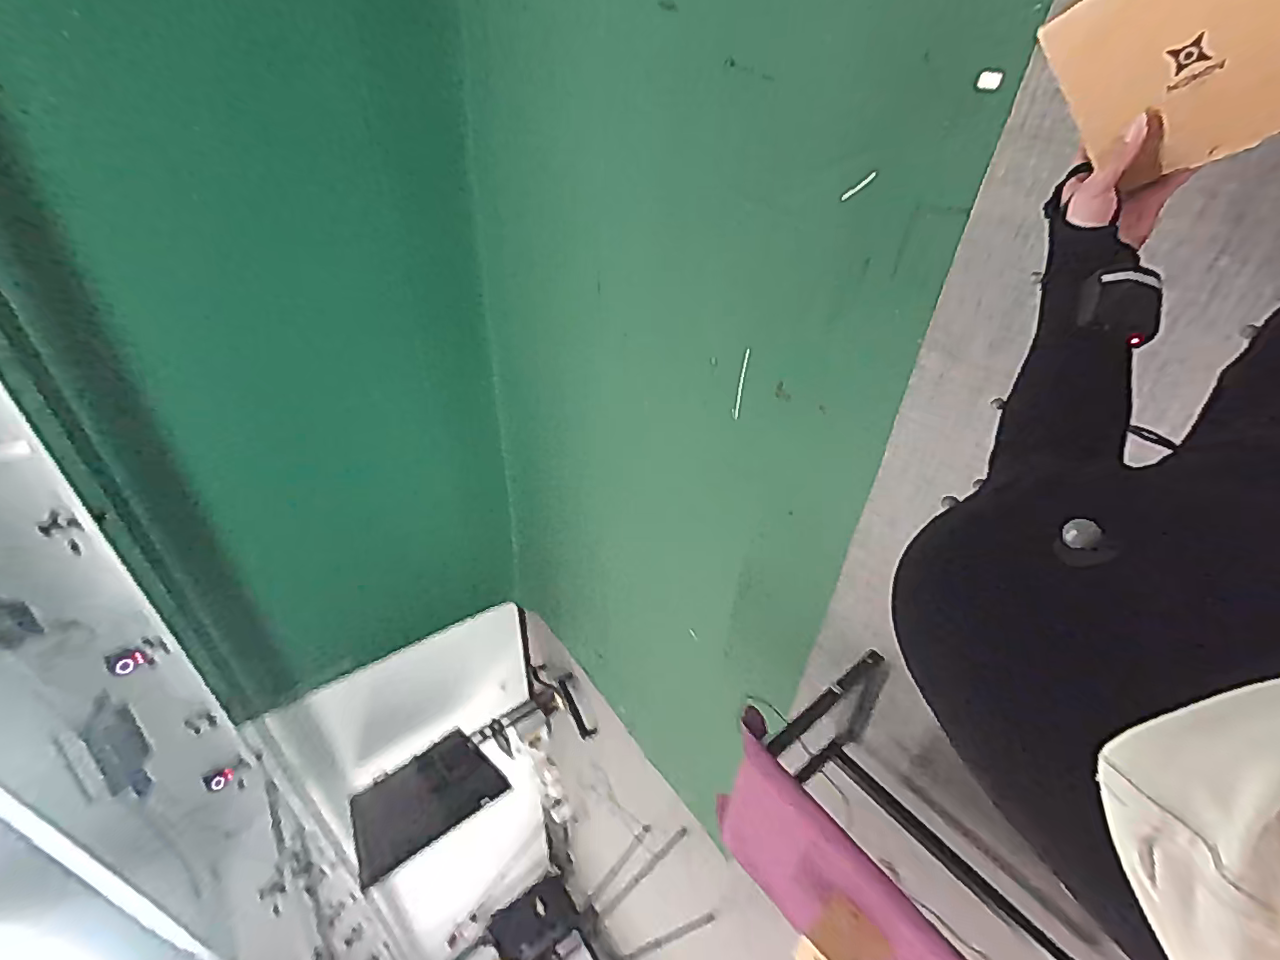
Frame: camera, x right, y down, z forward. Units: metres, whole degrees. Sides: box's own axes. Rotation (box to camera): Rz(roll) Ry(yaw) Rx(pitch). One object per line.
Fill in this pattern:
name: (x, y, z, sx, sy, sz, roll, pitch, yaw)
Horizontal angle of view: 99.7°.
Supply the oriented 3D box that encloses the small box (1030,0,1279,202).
small box: (0.480, -0.387, 0.452, 0.179, 0.176, 0.168, 45, 163, -19)
